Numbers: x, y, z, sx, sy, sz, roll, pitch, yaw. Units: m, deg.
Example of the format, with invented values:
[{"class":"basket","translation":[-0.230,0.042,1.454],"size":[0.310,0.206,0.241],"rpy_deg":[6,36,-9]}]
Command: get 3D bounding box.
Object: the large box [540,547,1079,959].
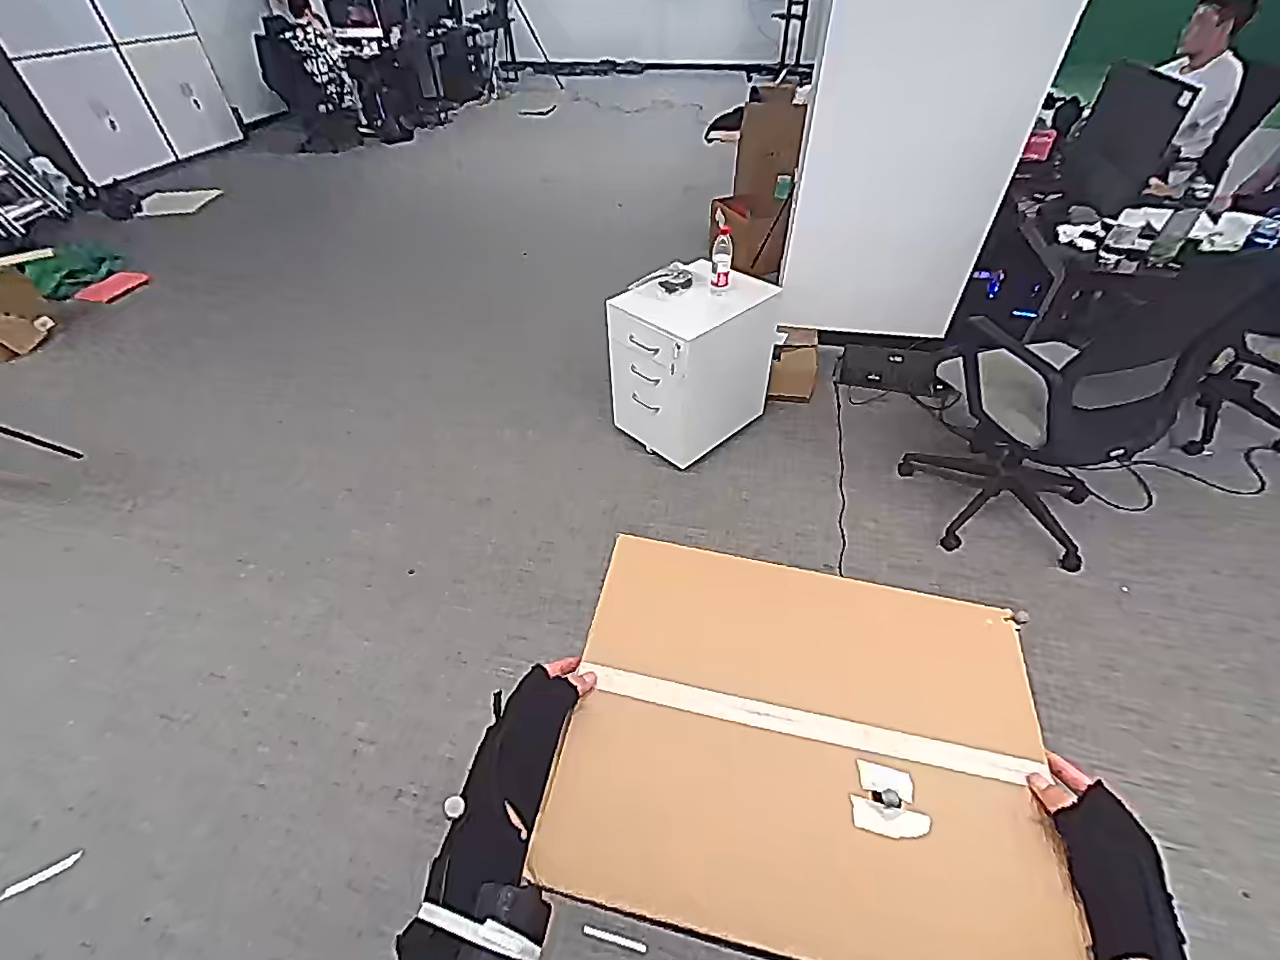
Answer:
[{"class":"large box","translation":[0.138,0.315,0.596],"size":[0.408,0.320,0.320],"rpy_deg":[11,52,6]}]
